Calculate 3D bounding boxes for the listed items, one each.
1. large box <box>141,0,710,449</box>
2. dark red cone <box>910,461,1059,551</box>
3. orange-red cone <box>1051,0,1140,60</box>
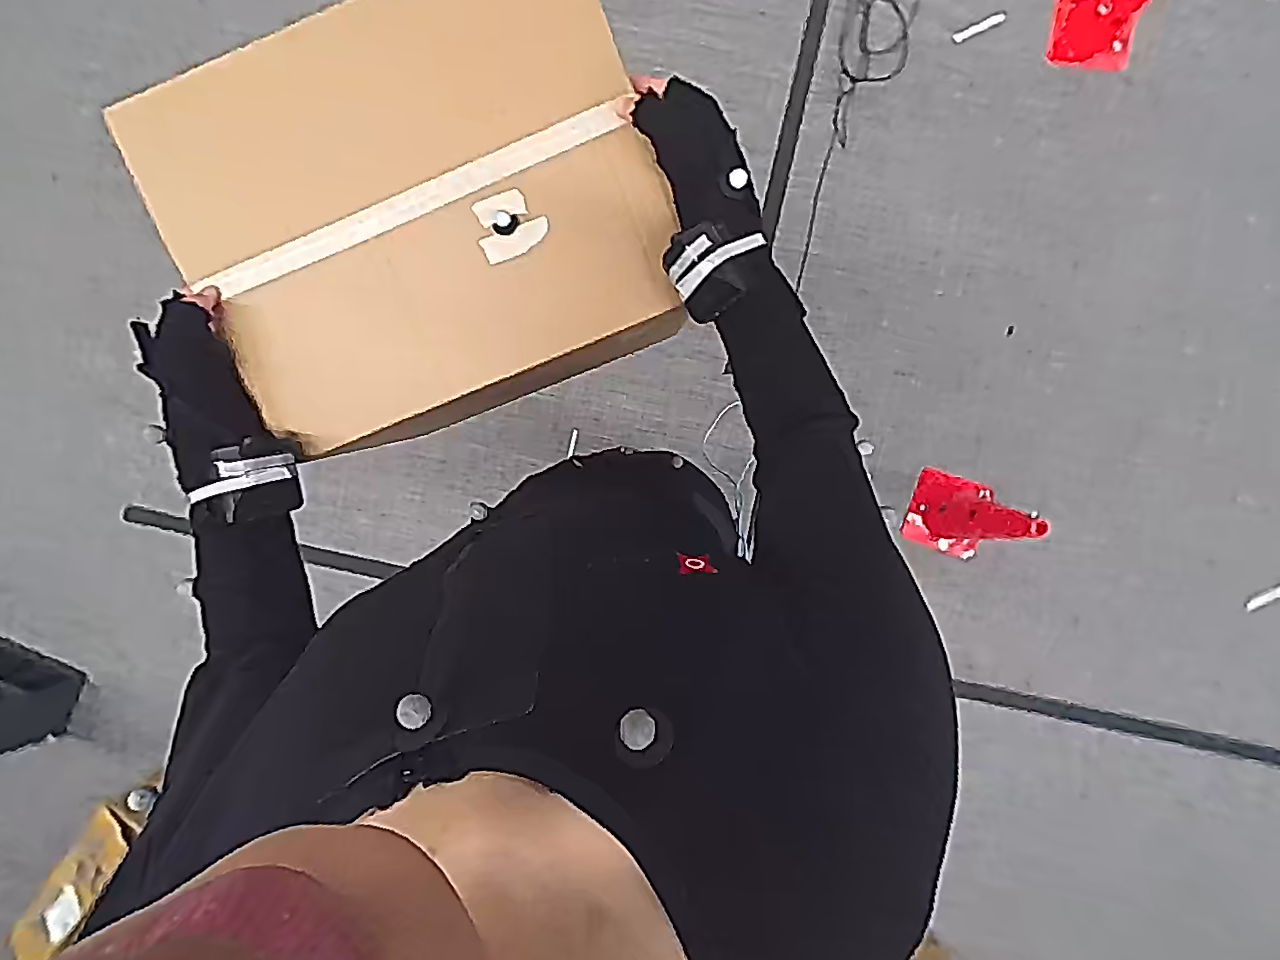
[{"bbox_3d":[-0.178,-0.257,0.602,0.408,0.320,0.320,-21,99,2],"label":"large box"},{"bbox_3d":[0.812,0.076,1.245,0.201,0.394,0.202,18,93,3],"label":"dark red cone"},{"bbox_3d":[1.151,-1.179,1.204,0.198,0.360,0.199,9,91,1],"label":"orange-red cone"}]
